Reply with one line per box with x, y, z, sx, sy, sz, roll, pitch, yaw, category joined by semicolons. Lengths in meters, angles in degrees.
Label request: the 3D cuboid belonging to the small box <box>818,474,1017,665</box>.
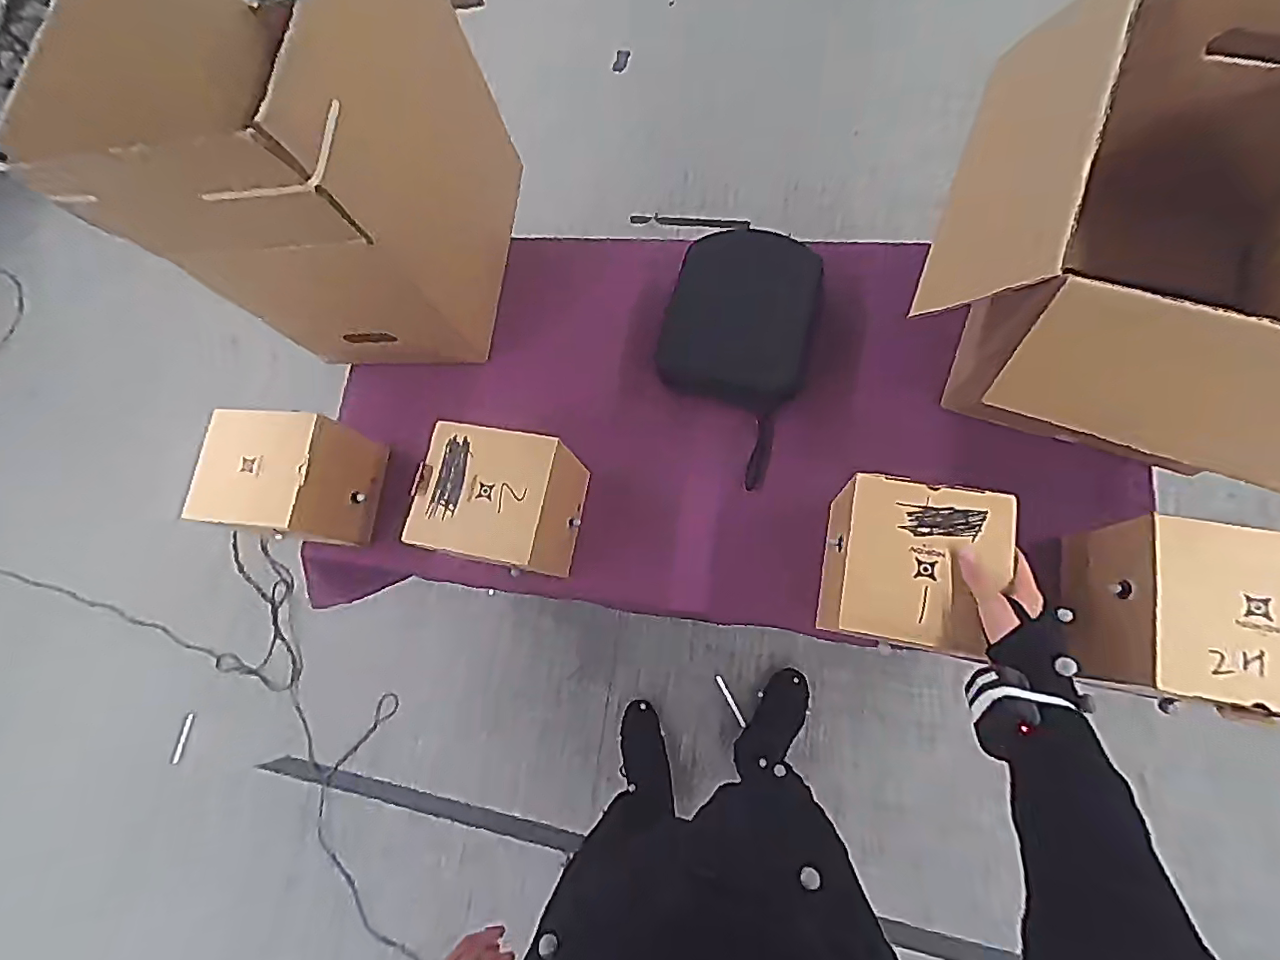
0.317;0.108;0.647;0.168;0.176;0.179;9;78;13;small box

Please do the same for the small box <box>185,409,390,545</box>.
-0.522;0.002;0.826;0.179;0.176;0.168;4;76;10;small box

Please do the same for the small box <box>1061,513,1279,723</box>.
0.592;0.150;0.583;0.168;0.176;0.179;10;77;13;small box
